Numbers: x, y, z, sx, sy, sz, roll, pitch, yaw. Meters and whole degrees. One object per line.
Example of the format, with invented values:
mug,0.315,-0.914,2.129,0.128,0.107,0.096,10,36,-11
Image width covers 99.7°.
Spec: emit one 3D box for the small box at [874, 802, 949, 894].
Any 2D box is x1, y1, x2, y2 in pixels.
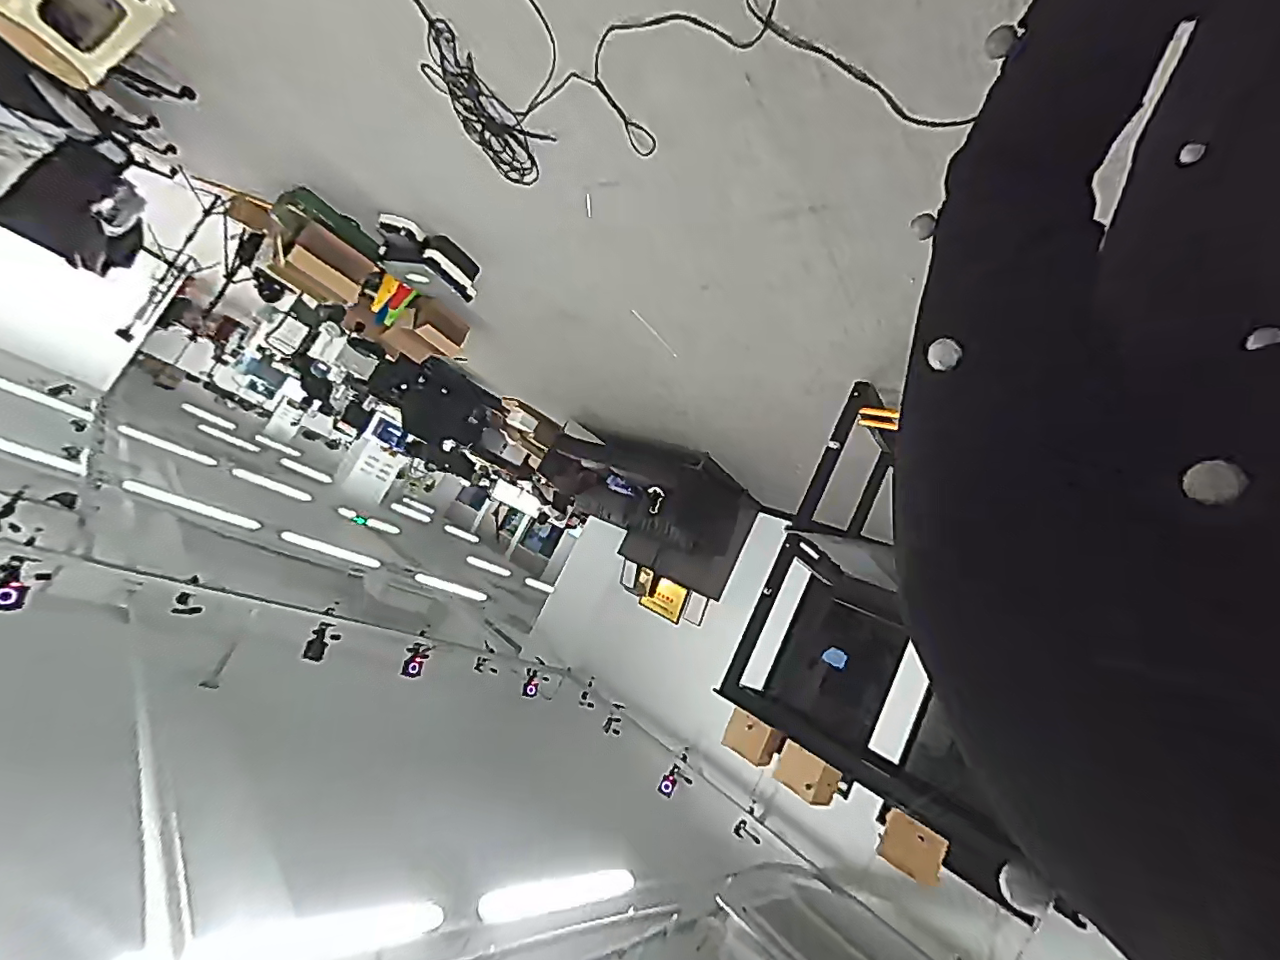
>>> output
small box,0.868,1.158,1.721,0.168,0.176,0.179,21,169,36
